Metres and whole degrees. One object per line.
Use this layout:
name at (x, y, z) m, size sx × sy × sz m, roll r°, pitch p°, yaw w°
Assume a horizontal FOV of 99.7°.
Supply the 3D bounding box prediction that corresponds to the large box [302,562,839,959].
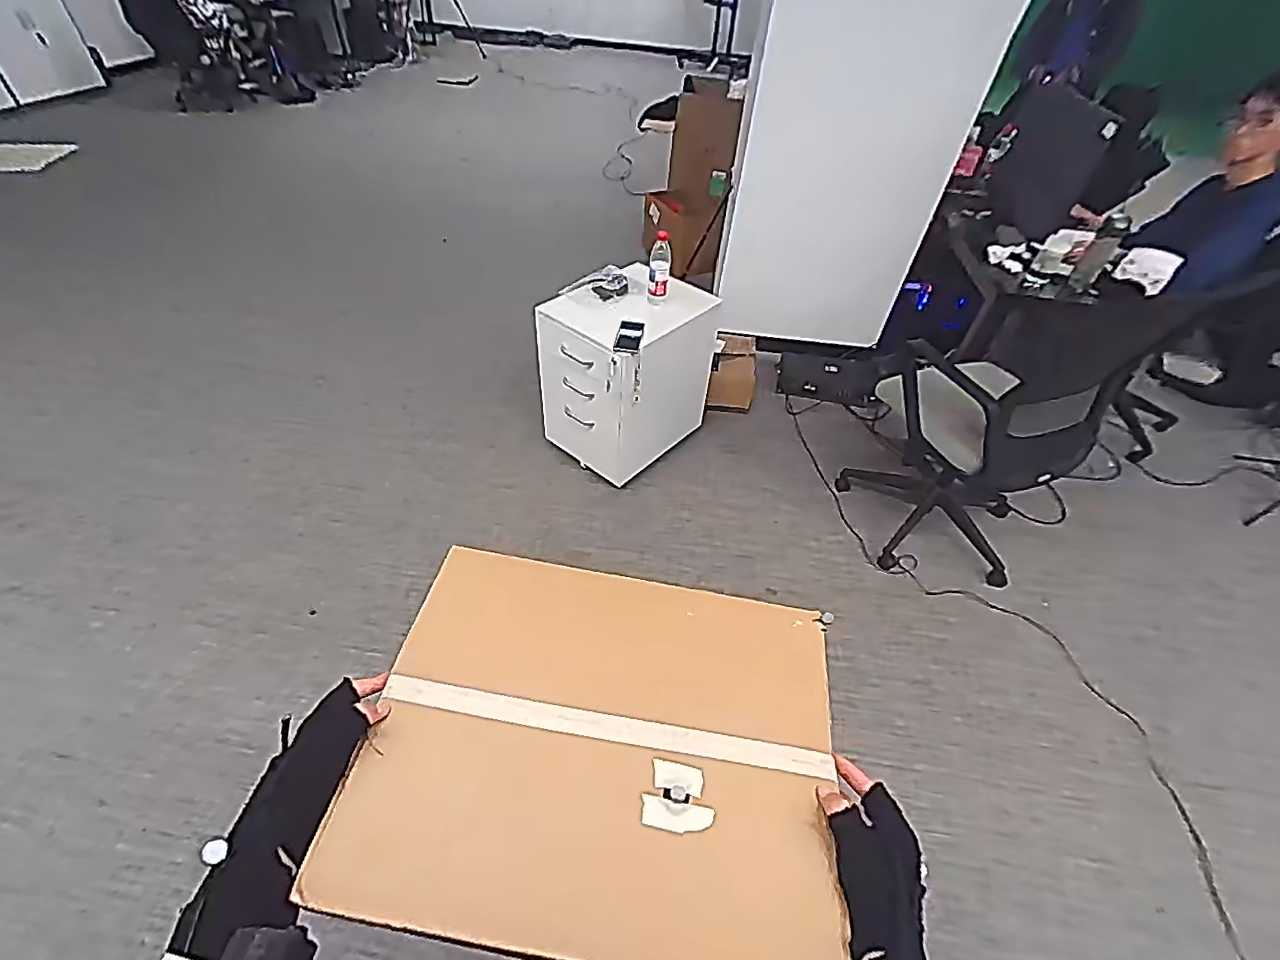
large box at (-0.048, 0.330, 0.595) m, size 0.408 × 0.320 × 0.320 m, roll 11°, pitch 49°, yaw 1°
